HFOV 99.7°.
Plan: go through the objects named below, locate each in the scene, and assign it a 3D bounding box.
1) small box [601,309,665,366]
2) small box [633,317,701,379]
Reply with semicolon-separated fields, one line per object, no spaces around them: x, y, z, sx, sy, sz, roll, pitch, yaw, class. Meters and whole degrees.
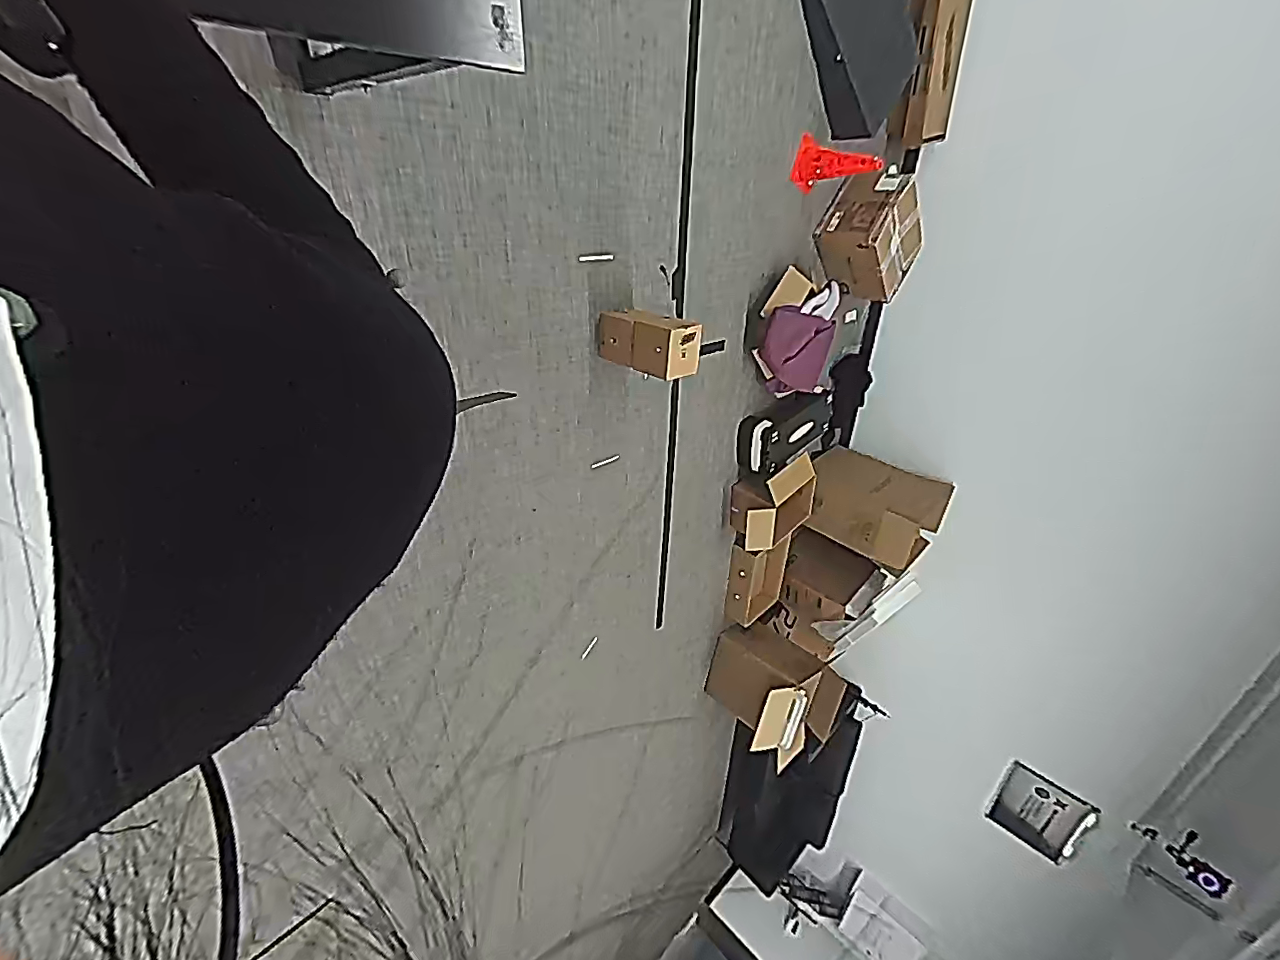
-0.030;-0.527;1.984;0.179;0.176;0.168;-22;127;-40;small box
0.092;-0.467;1.888;0.168;0.176;0.179;-23;128;-40;small box
